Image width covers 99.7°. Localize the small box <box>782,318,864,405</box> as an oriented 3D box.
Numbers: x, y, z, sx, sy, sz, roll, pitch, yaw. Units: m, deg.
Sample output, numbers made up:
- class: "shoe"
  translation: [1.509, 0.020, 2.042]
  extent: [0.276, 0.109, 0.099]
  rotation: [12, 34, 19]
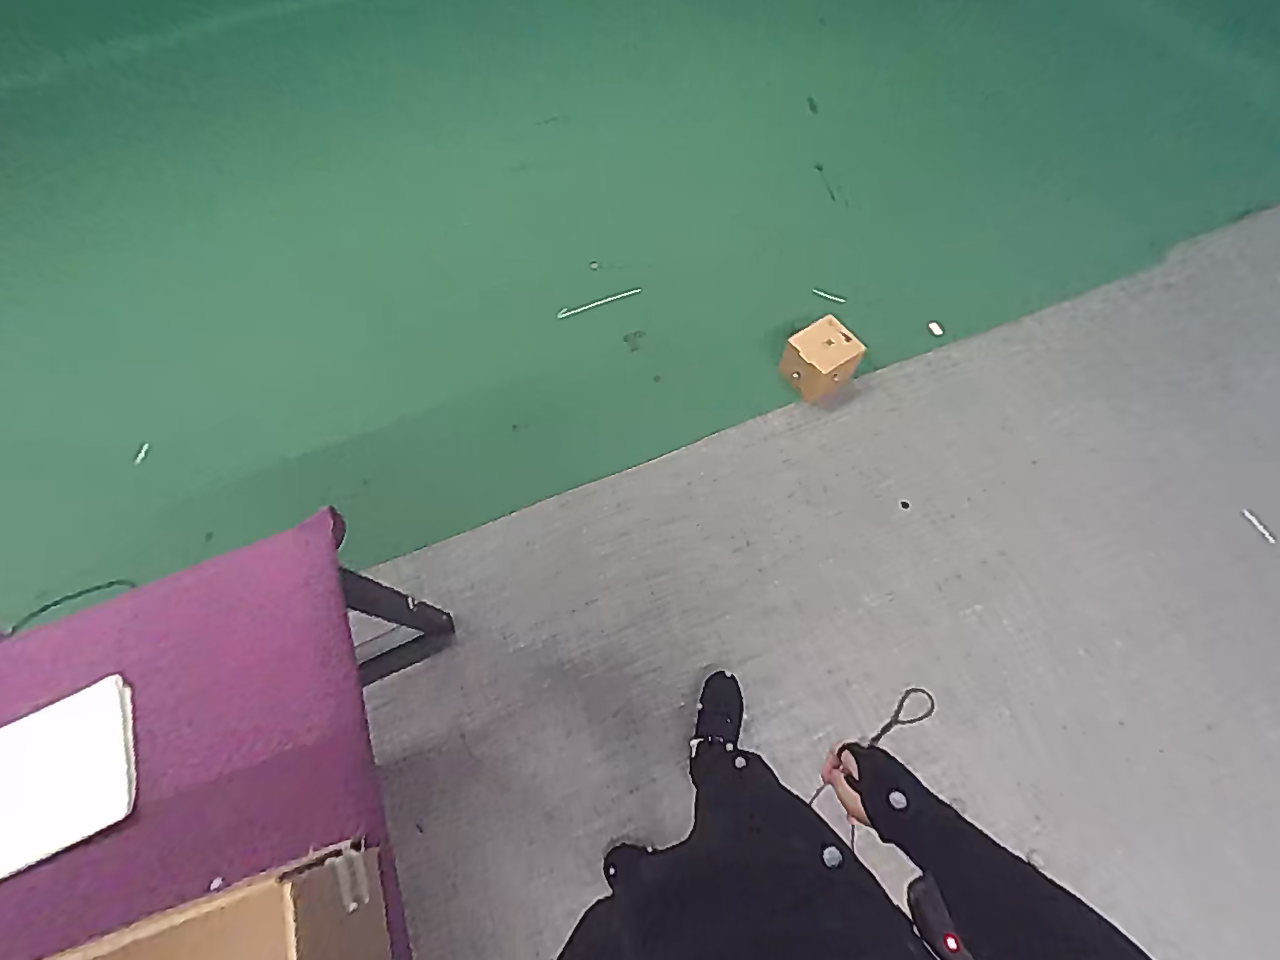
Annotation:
- class: "small box"
  translation: [0.572, -0.371, 1.725]
  extent: [0.179, 0.176, 0.168]
  rotation: [-32, 70, -10]
